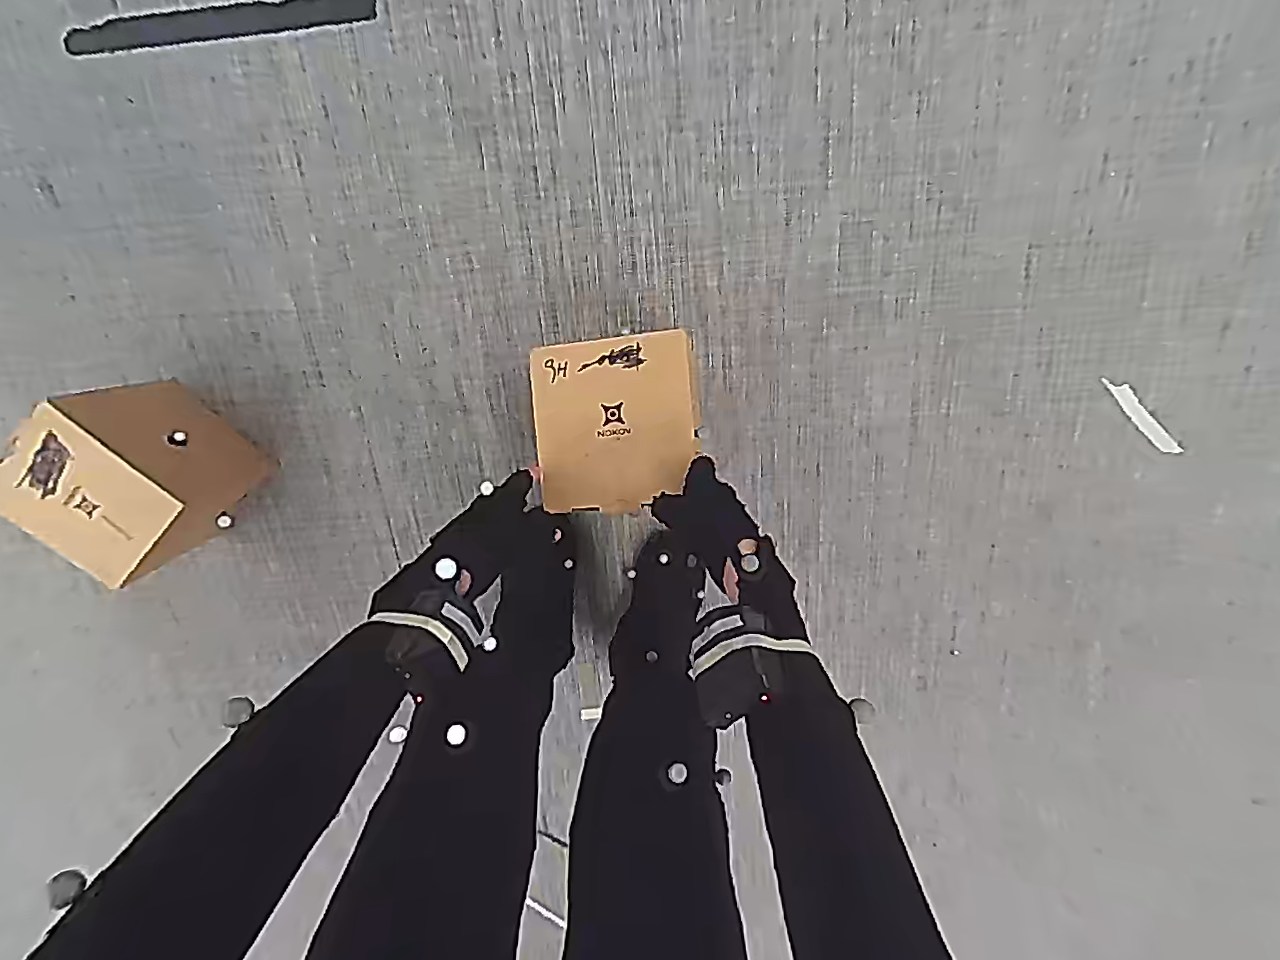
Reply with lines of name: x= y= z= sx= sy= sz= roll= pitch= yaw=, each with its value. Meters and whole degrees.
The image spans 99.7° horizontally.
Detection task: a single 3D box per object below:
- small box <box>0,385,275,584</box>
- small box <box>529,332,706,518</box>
small box: x=-0.636 y=-0.006 z=0.700 sx=0.168 sy=0.176 sz=0.179 roll=-42 pitch=104 yaw=13
small box: x=-0.015 y=-0.056 z=0.631 sx=0.168 sy=0.176 sz=0.179 roll=-7 pitch=89 yaw=9
